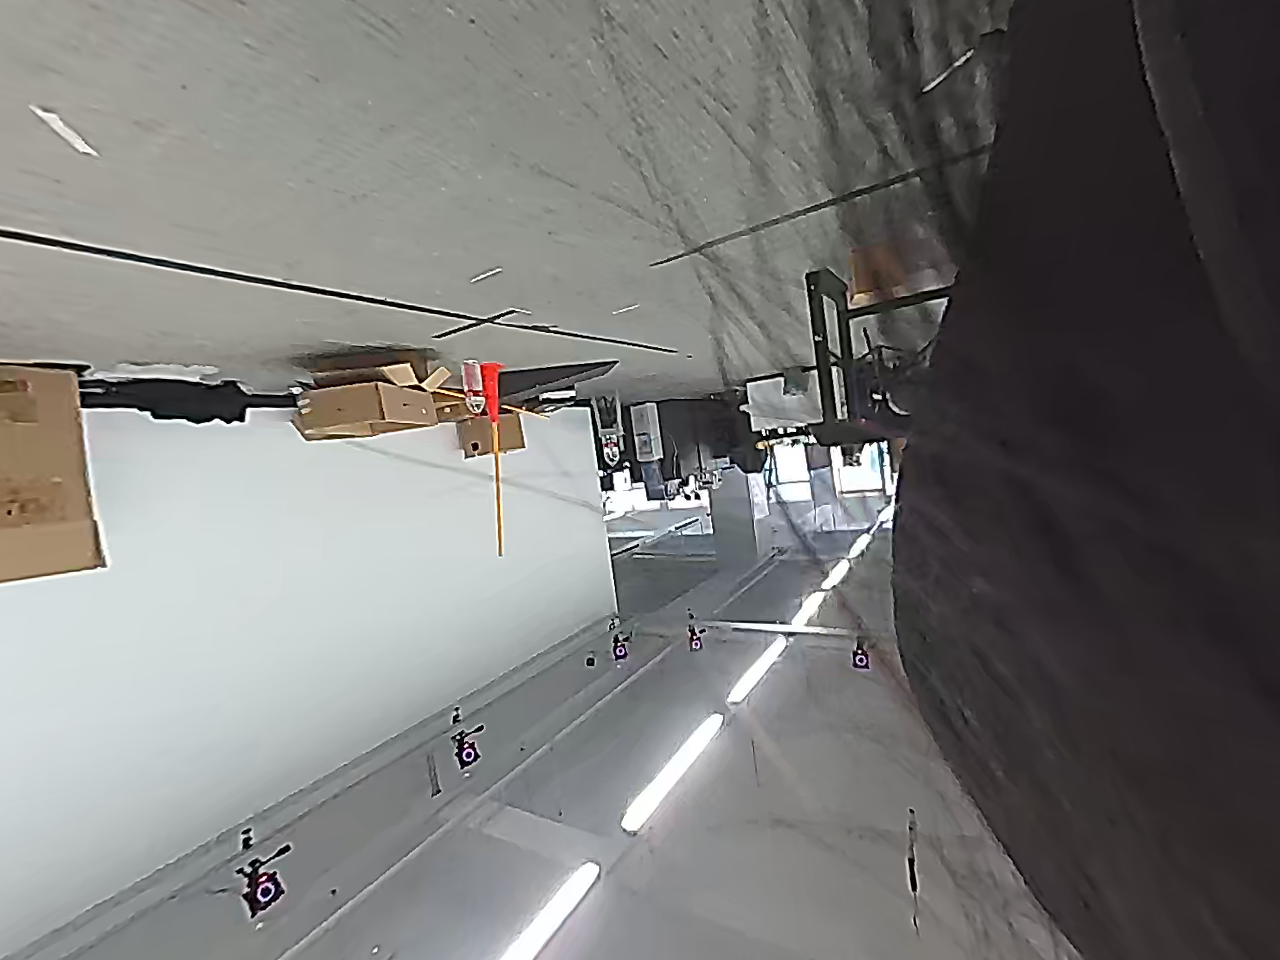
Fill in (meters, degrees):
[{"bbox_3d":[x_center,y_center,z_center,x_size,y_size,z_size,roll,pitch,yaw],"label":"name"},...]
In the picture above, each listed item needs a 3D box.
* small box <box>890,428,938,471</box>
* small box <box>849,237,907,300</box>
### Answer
[{"bbox_3d":[1.192,-0.135,2.350,0.179,0.176,0.168,-6,-175,30],"label":"small box"},{"bbox_3d":[0.927,-0.824,2.118,0.179,0.176,0.168,-8,-177,15],"label":"small box"}]
